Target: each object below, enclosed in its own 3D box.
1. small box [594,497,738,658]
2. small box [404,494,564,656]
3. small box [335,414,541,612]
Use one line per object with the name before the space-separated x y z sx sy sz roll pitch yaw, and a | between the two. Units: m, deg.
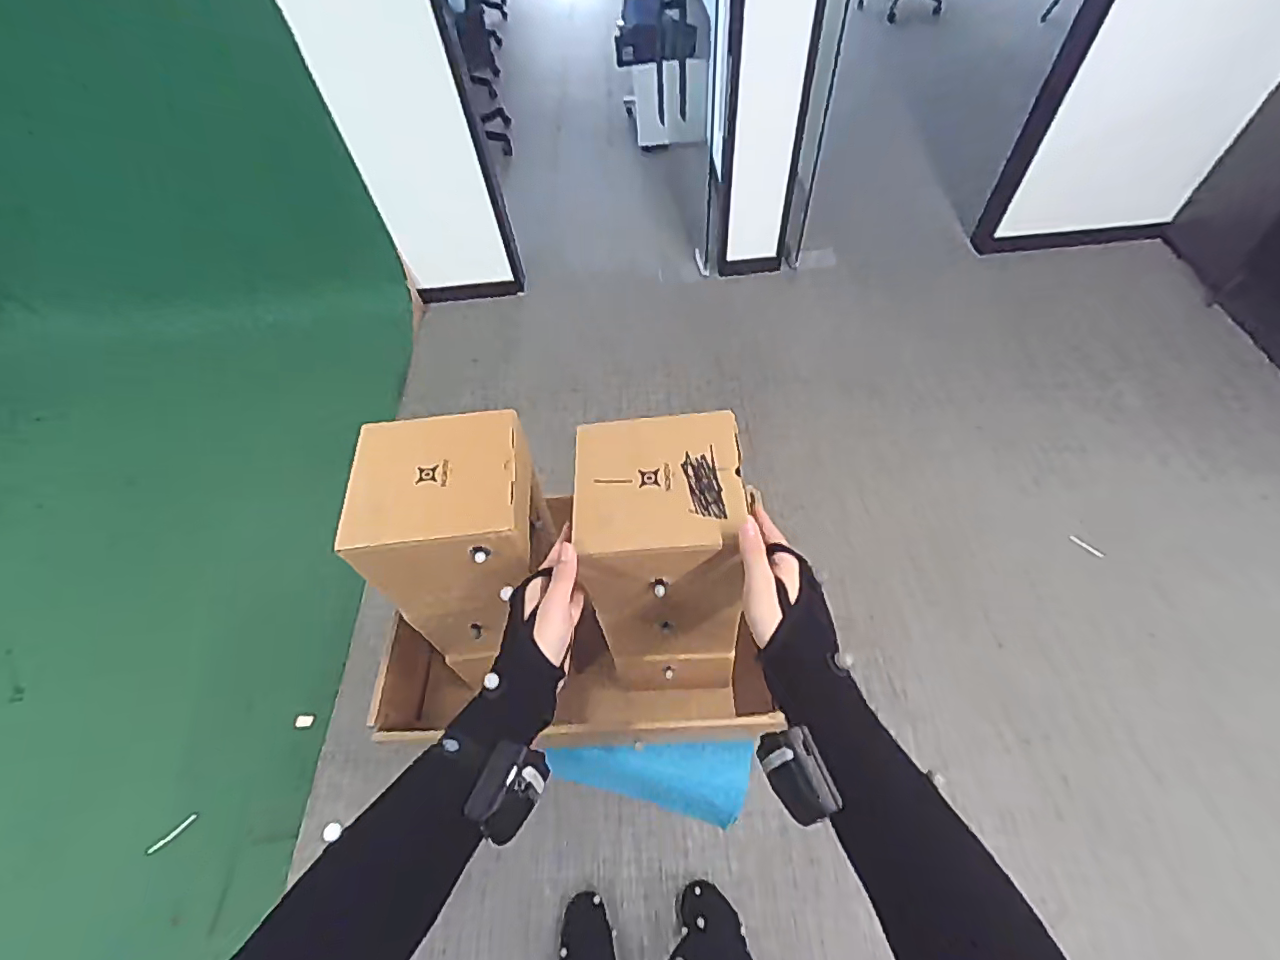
small box | 0.039 0.141 0.751 0.179 0.176 0.168 -3 55 4
small box | -0.209 0.141 0.773 0.179 0.176 0.168 -6 55 -2
small box | -0.219 0.045 0.641 0.179 0.176 0.168 -6 54 -4
